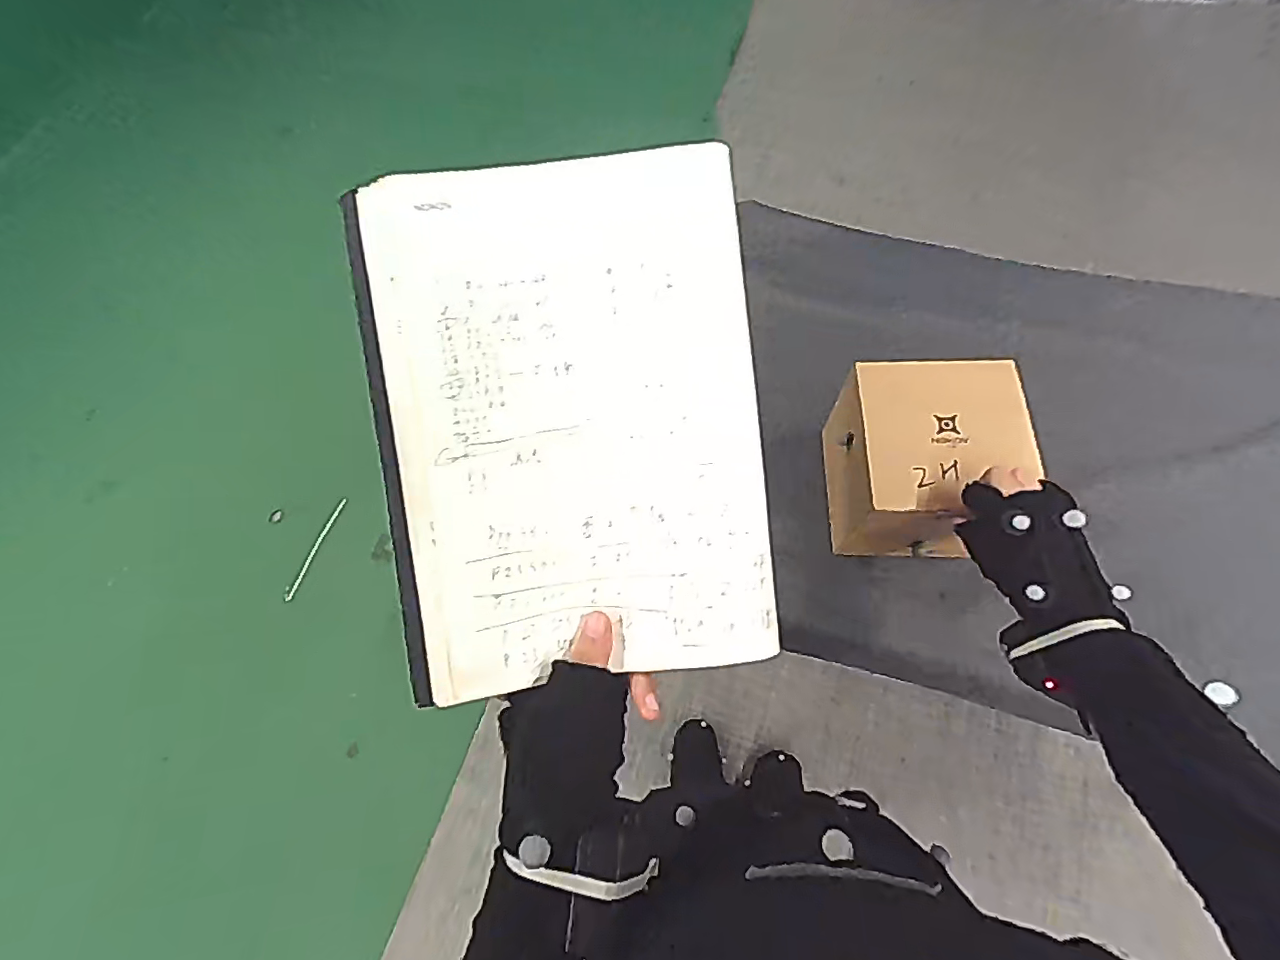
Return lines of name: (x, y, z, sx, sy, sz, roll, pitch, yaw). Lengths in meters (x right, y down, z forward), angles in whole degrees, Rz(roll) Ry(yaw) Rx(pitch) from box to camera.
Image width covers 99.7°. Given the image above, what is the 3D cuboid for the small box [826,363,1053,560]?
small box: (0.321, -0.015, 0.626, 0.168, 0.176, 0.179, 0, 67, 6)
